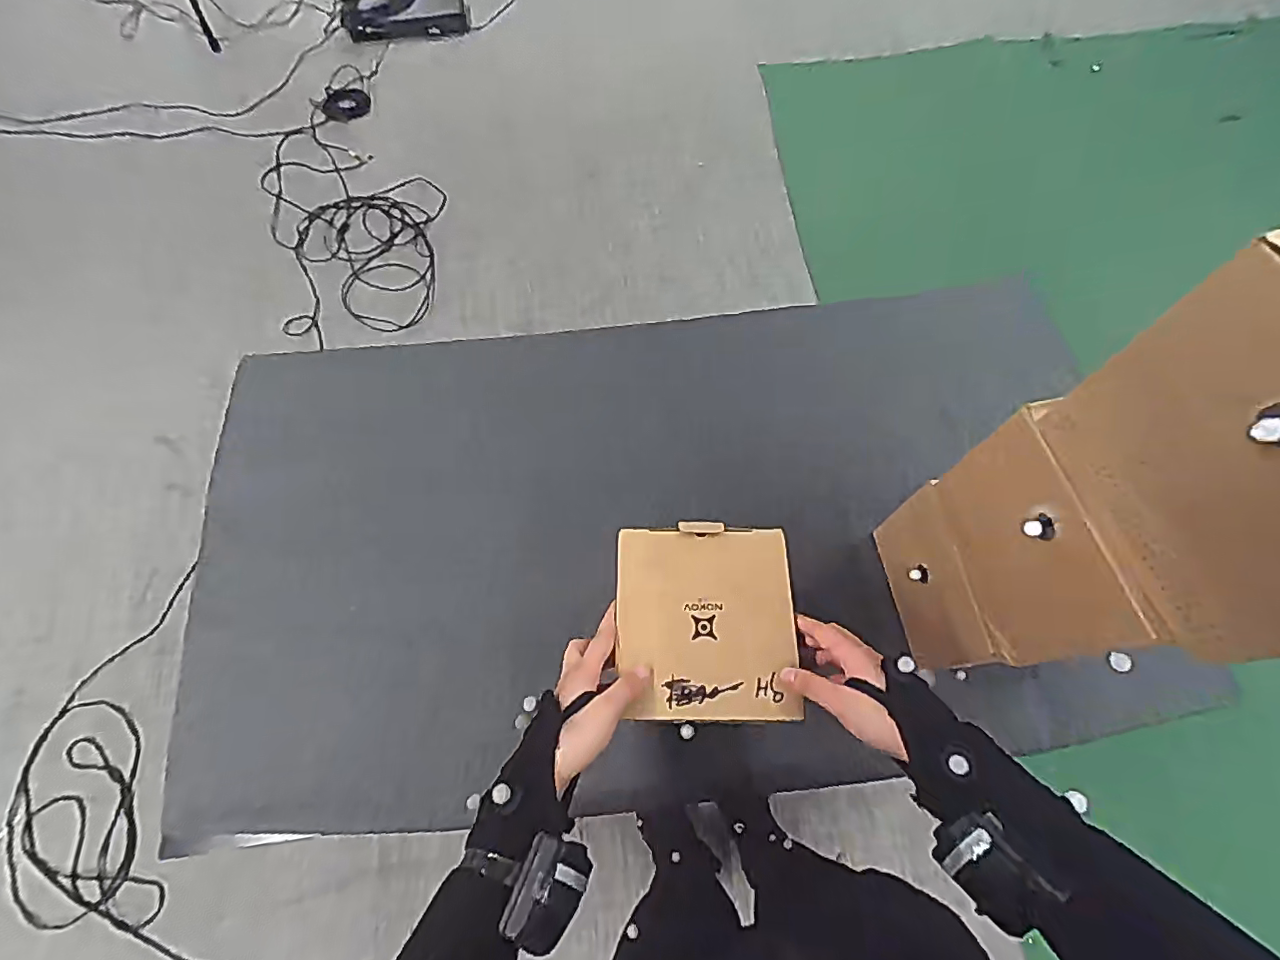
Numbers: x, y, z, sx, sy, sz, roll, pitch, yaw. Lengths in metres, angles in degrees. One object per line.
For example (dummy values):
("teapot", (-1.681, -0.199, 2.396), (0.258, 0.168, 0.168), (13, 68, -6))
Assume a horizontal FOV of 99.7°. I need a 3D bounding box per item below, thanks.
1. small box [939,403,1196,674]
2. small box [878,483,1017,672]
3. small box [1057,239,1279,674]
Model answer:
("small box", (0.379, 0.045, 0.431), (0.168, 0.176, 0.179), (-11, 67, -1))
("small box", (0.385, 0.106, 0.582), (0.168, 0.176, 0.179), (-7, 65, -1))
("small box", (0.375, -0.013, 0.277), (0.168, 0.176, 0.179), (-14, 66, -2))
